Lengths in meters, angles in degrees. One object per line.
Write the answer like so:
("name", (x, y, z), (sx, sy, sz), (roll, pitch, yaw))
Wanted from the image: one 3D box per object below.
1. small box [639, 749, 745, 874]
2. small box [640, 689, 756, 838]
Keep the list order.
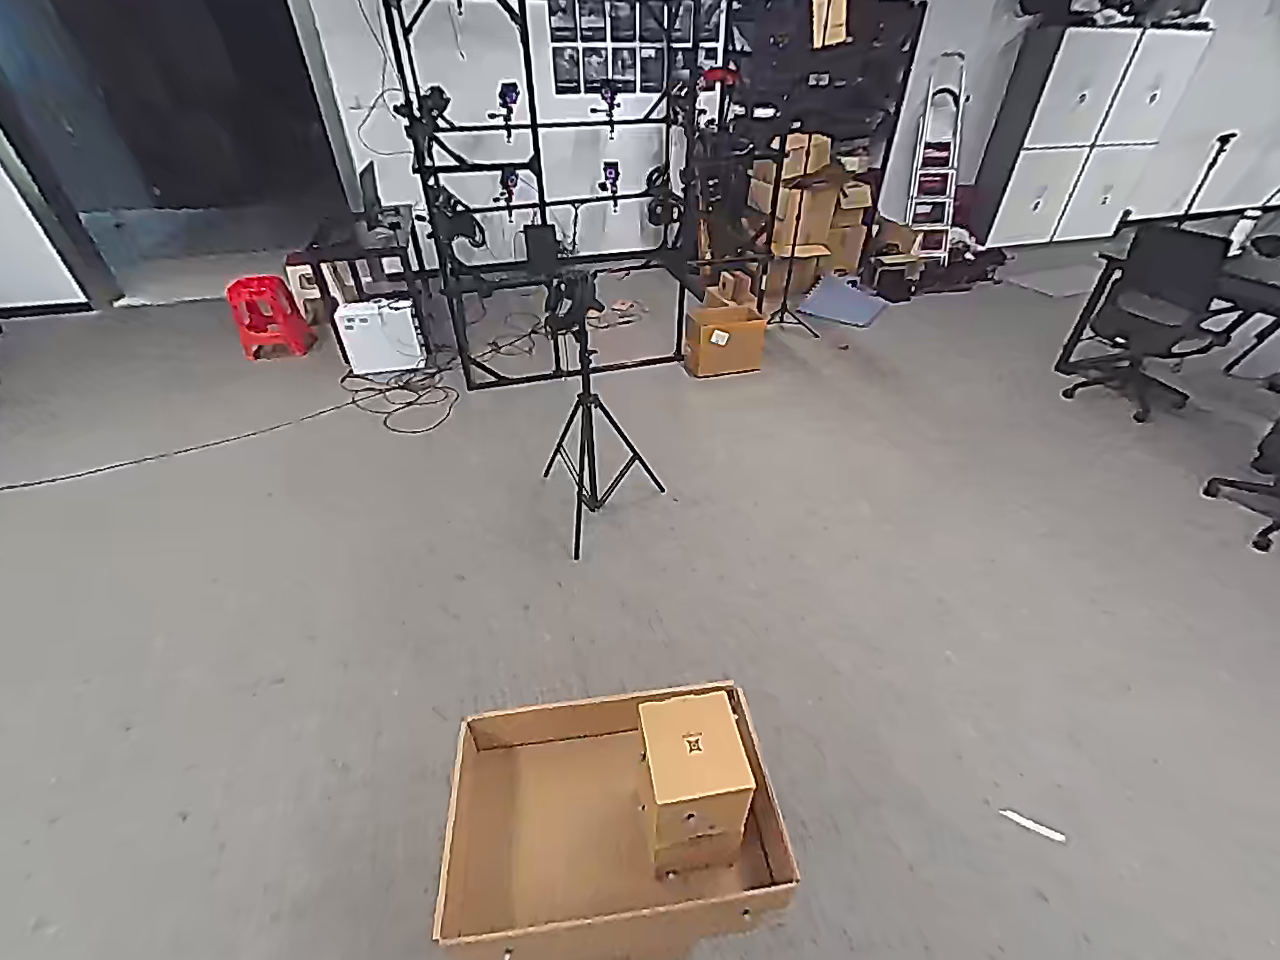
("small box", (0.095, 0.636, 1.055), (0.168, 0.176, 0.179), (-7, 37, -8))
("small box", (0.095, 0.505, 0.958), (0.168, 0.176, 0.179), (-6, 37, -8))
